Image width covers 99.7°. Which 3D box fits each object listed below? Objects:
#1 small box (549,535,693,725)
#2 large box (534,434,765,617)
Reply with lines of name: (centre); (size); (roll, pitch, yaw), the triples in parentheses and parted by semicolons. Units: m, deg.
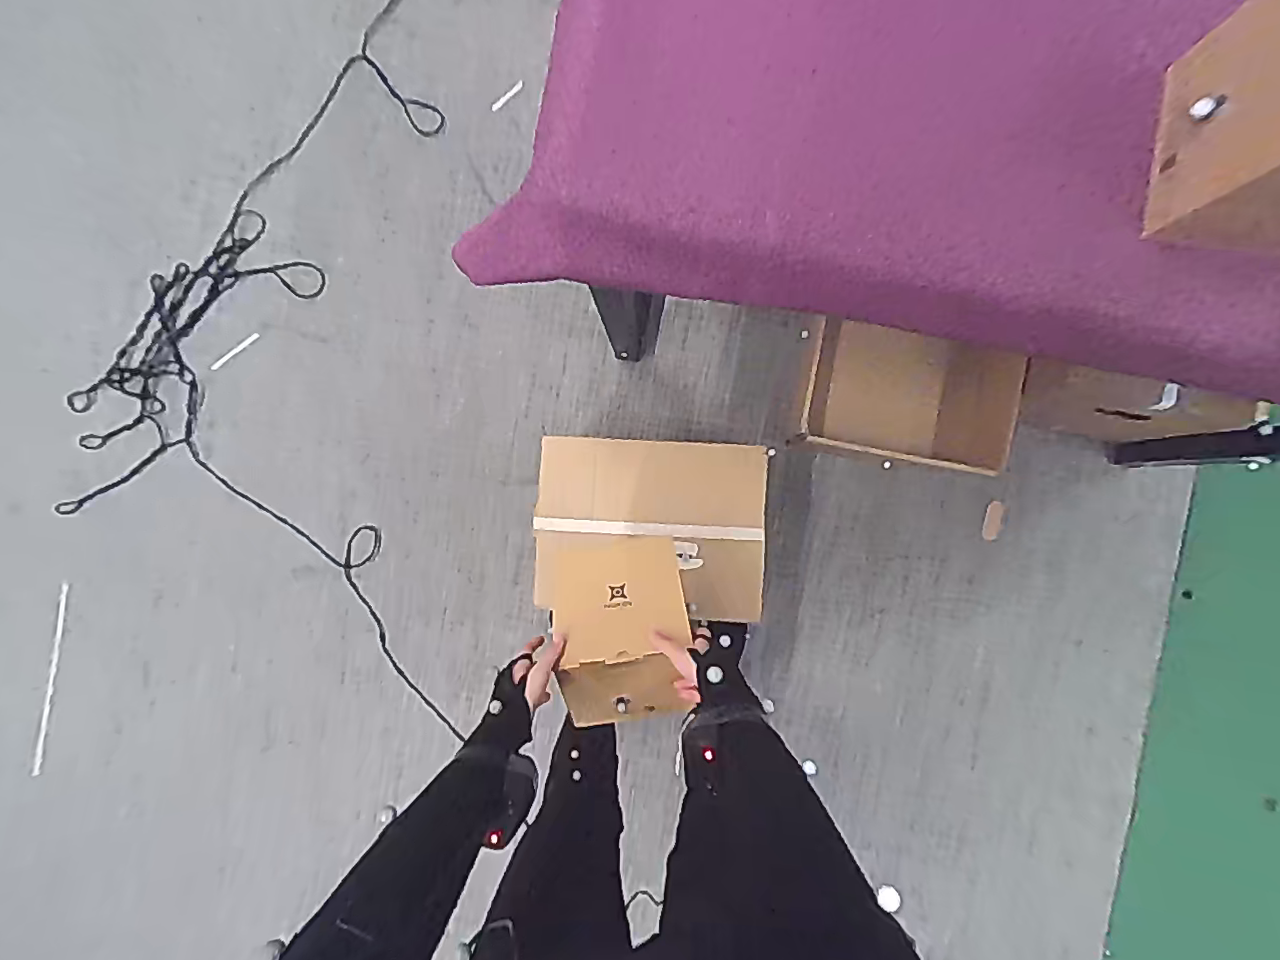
small box: (-0.025, 0.200, 0.724); (0.168, 0.176, 0.179); (-8, 45, -2)
large box: (0.019, 0.085, 1.097); (0.408, 0.320, 0.320); (3, 89, 2)
